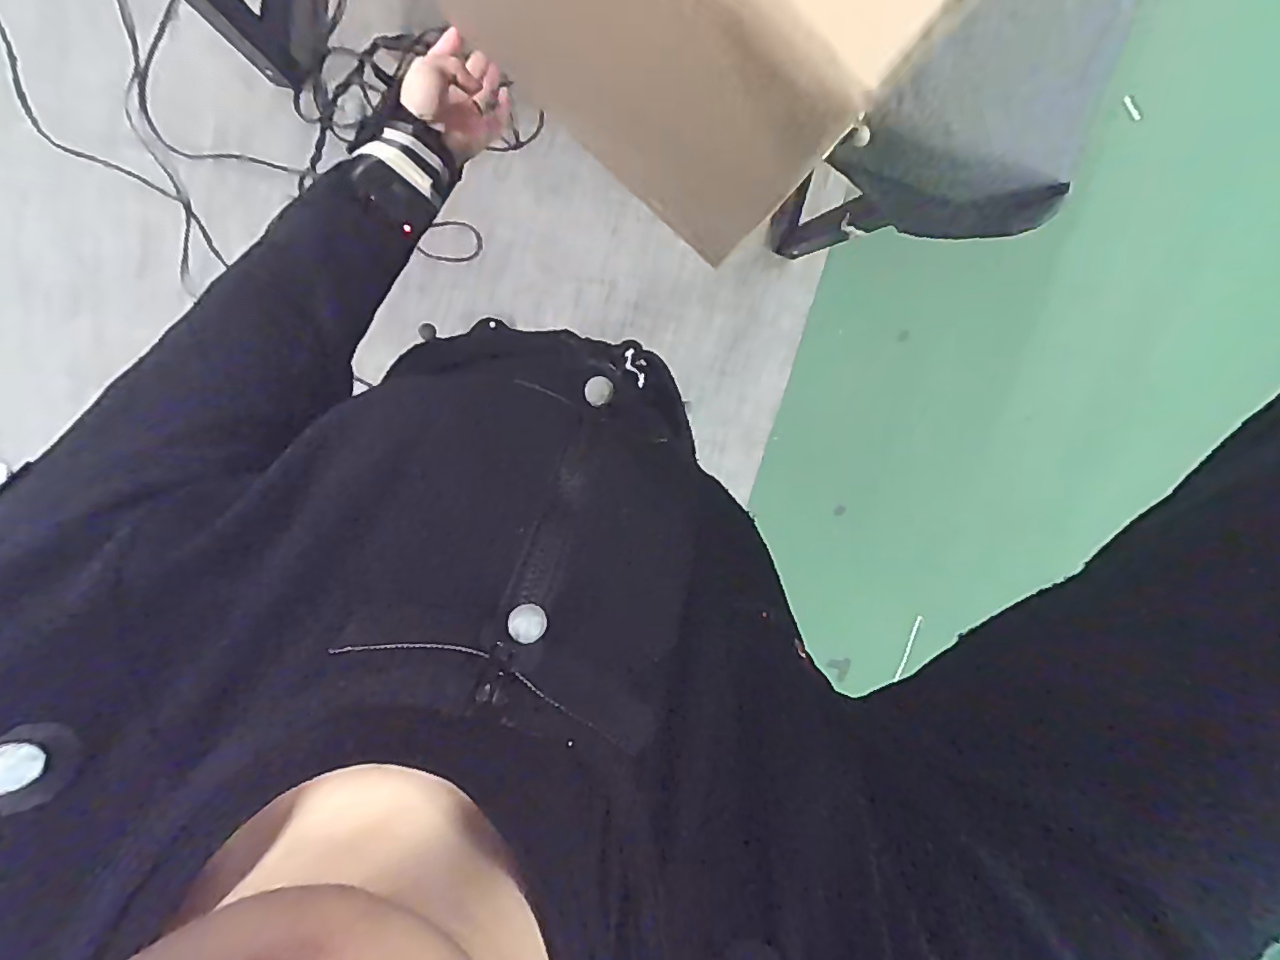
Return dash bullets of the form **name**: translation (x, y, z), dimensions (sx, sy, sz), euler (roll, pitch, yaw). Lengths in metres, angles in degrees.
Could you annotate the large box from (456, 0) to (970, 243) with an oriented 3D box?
- **large box**: translation (0.048, -0.371, 0.277), dimensions (0.320, 0.408, 0.320), euler (39, 105, -10)
